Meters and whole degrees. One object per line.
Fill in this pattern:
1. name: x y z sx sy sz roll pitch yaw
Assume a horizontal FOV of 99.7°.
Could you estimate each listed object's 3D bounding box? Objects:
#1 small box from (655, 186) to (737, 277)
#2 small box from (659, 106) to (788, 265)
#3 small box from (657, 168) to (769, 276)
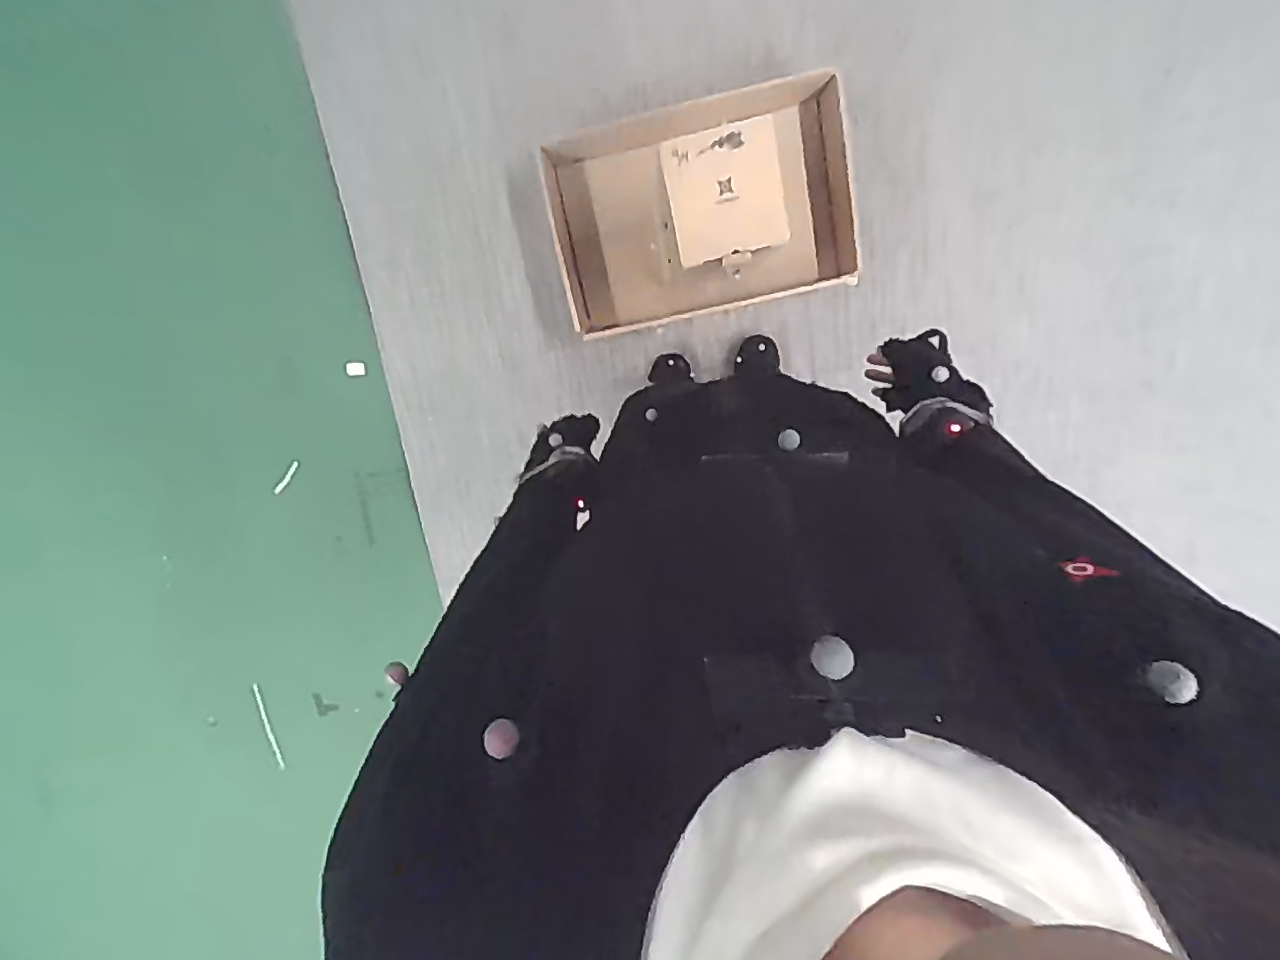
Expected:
1. small box: 0.133 -0.546 1.173 0.179 0.176 0.168 -9 104 7
2. small box: 0.128 -0.451 0.862 0.168 0.176 0.179 -12 105 5
3. small box: 0.132 -0.488 1.005 0.168 0.176 0.179 -14 105 6
